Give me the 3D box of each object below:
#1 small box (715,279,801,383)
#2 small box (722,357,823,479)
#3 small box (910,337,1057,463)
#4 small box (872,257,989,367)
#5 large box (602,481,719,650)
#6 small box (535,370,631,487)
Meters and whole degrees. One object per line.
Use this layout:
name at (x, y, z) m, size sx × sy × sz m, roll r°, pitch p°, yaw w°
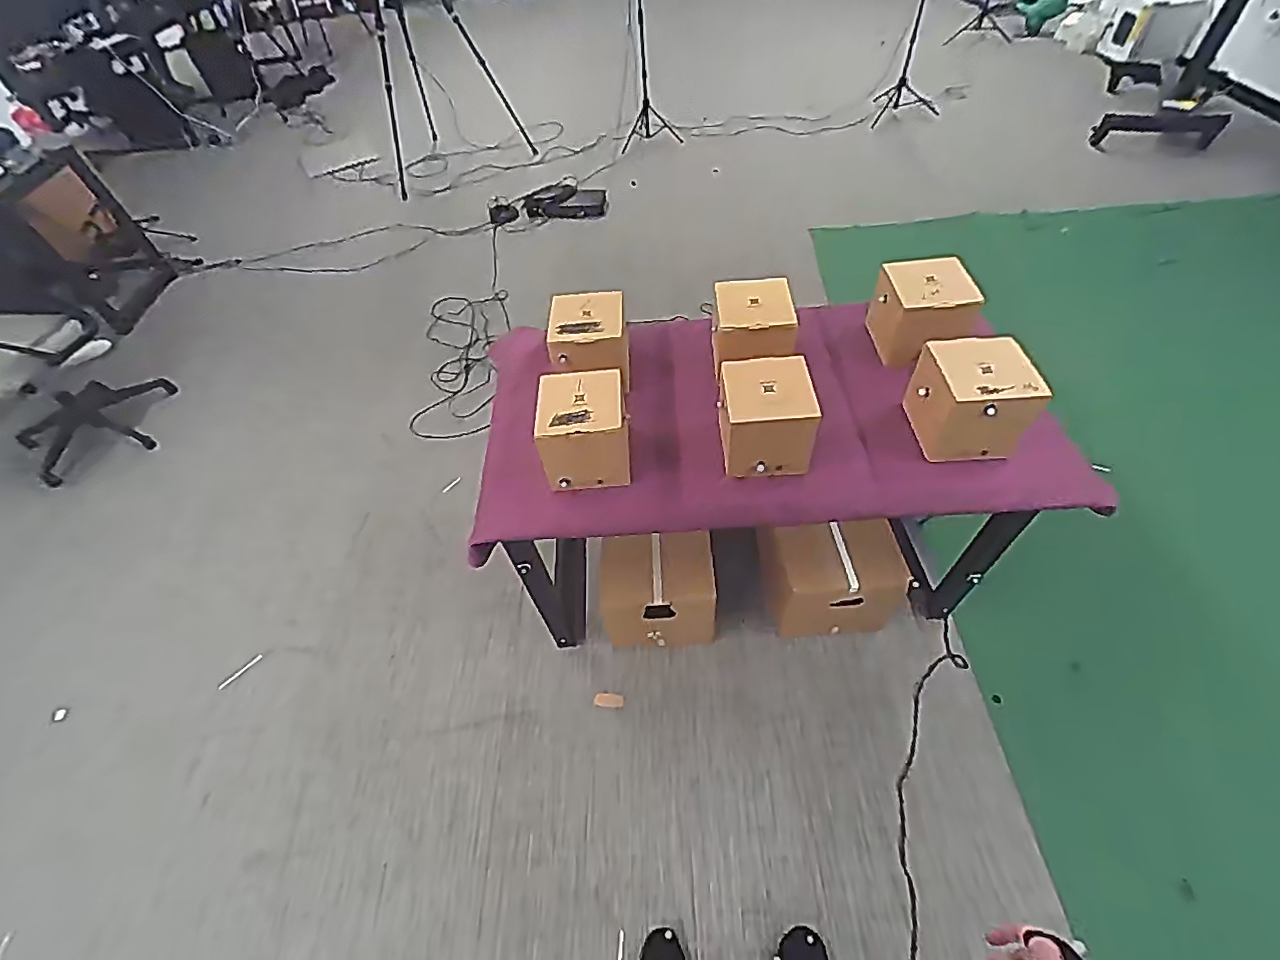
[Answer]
small box at (0.263, -0.338, 1.249) m, size 0.168 × 0.176 × 0.179 m, roll -2°, pitch 53°, yaw 4°
small box at (0.254, -0.122, 1.079) m, size 0.168 × 0.176 × 0.179 m, roll -3°, pitch 51°, yaw 5°
small box at (0.652, -0.154, 1.056) m, size 0.168 × 0.176 × 0.179 m, roll -4°, pitch 50°, yaw 6°
small box at (0.647, -0.381, 1.232) m, size 0.168 × 0.176 × 0.179 m, roll -4°, pitch 53°, yaw 6°
large box at (0.061, 0.262, 1.645) m, size 0.320 × 0.320 × 0.408 m, roll -4°, pitch 51°, yaw 3°
small box at (-0.108, -0.098, 1.099) m, size 0.168 × 0.176 × 0.179 m, roll -4°, pitch 50°, yaw 2°
